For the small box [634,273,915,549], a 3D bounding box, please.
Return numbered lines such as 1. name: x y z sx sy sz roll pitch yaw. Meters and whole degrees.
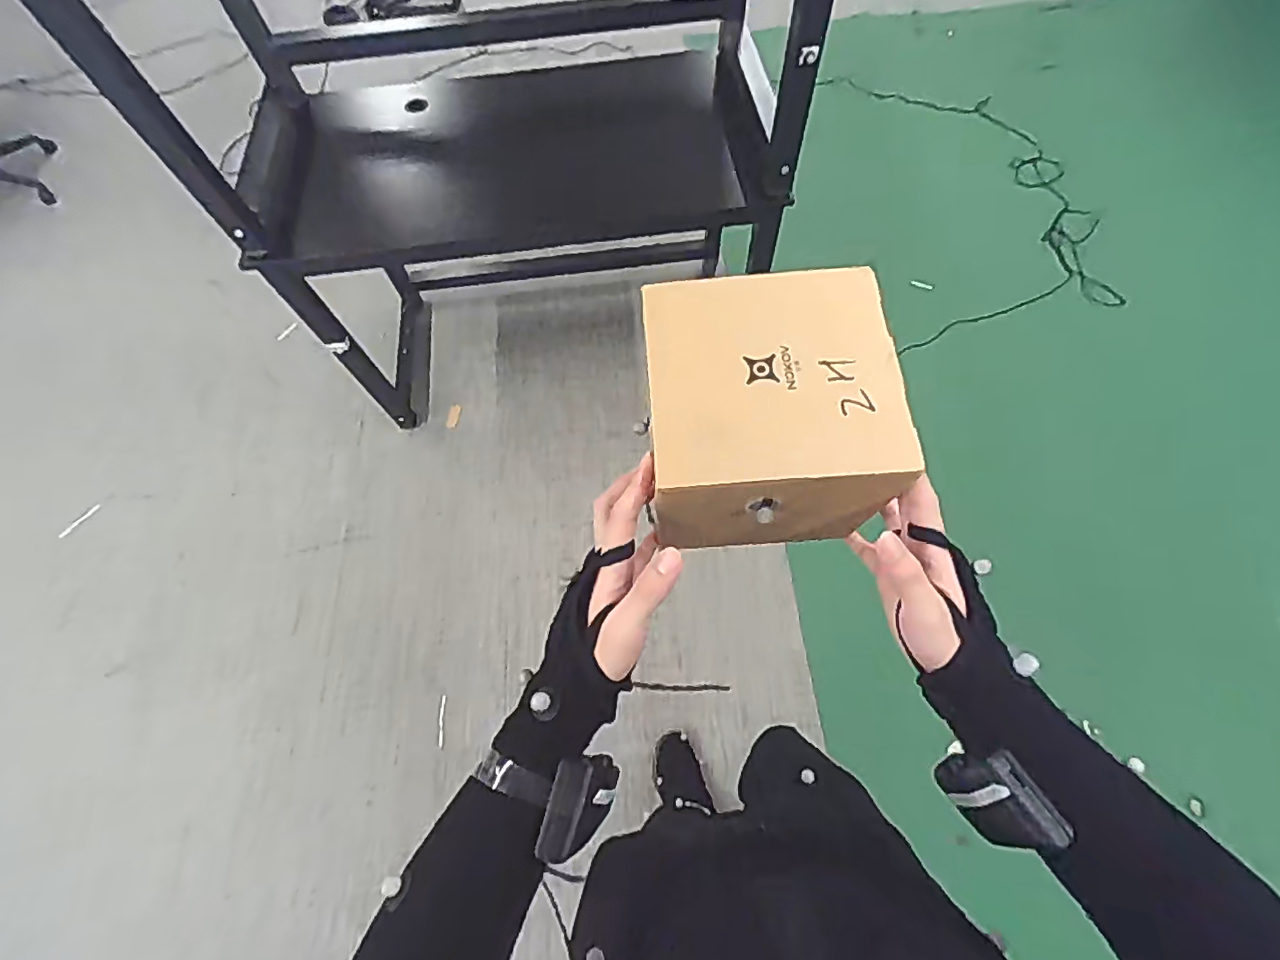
1. small box: 0.091 -0.043 0.450 0.179 0.176 0.168 -4 69 1
